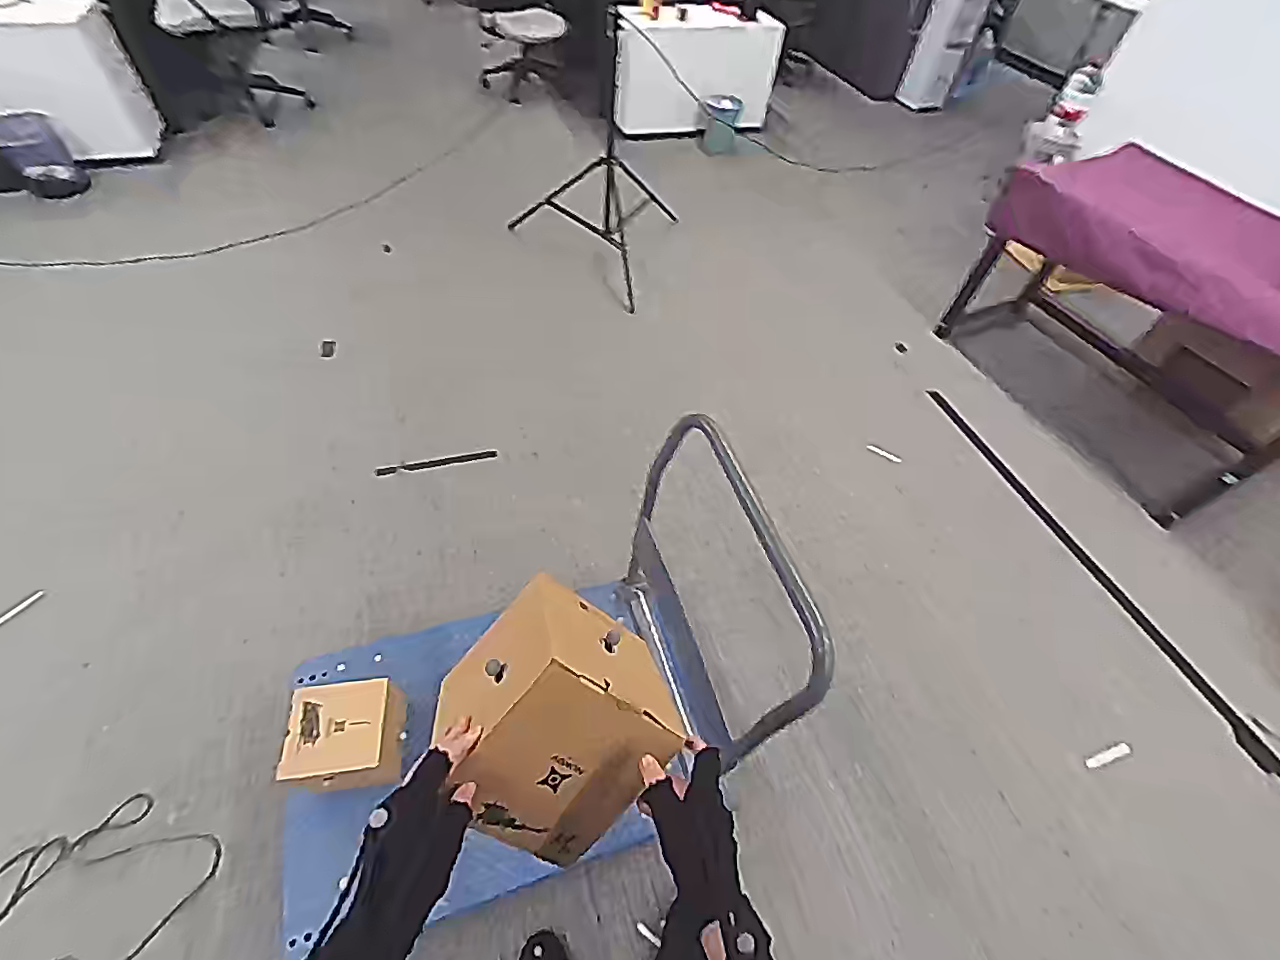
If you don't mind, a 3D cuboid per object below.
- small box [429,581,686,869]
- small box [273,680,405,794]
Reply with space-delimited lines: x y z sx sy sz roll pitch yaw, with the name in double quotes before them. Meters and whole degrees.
"small box" -0.088 0.236 0.556 0.168 0.176 0.179 41 93 -21
"small box" -0.594 0.522 1.093 0.179 0.176 0.168 -3 53 -11
